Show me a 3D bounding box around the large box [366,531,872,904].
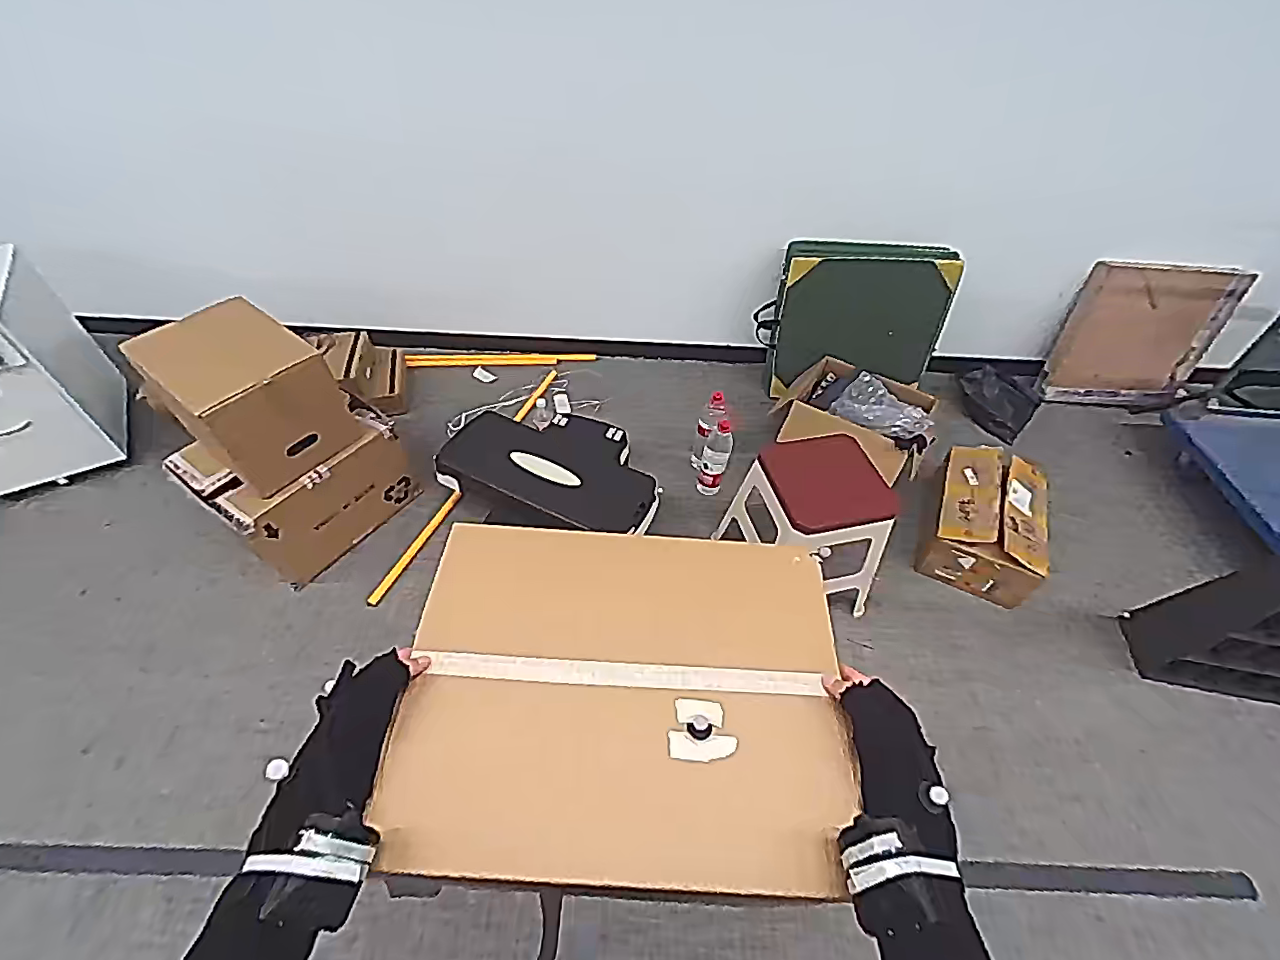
[{"bbox_3d":[-0.019,0.282,0.624,0.408,0.320,0.320,5,51,-1],"label":"large box"}]
